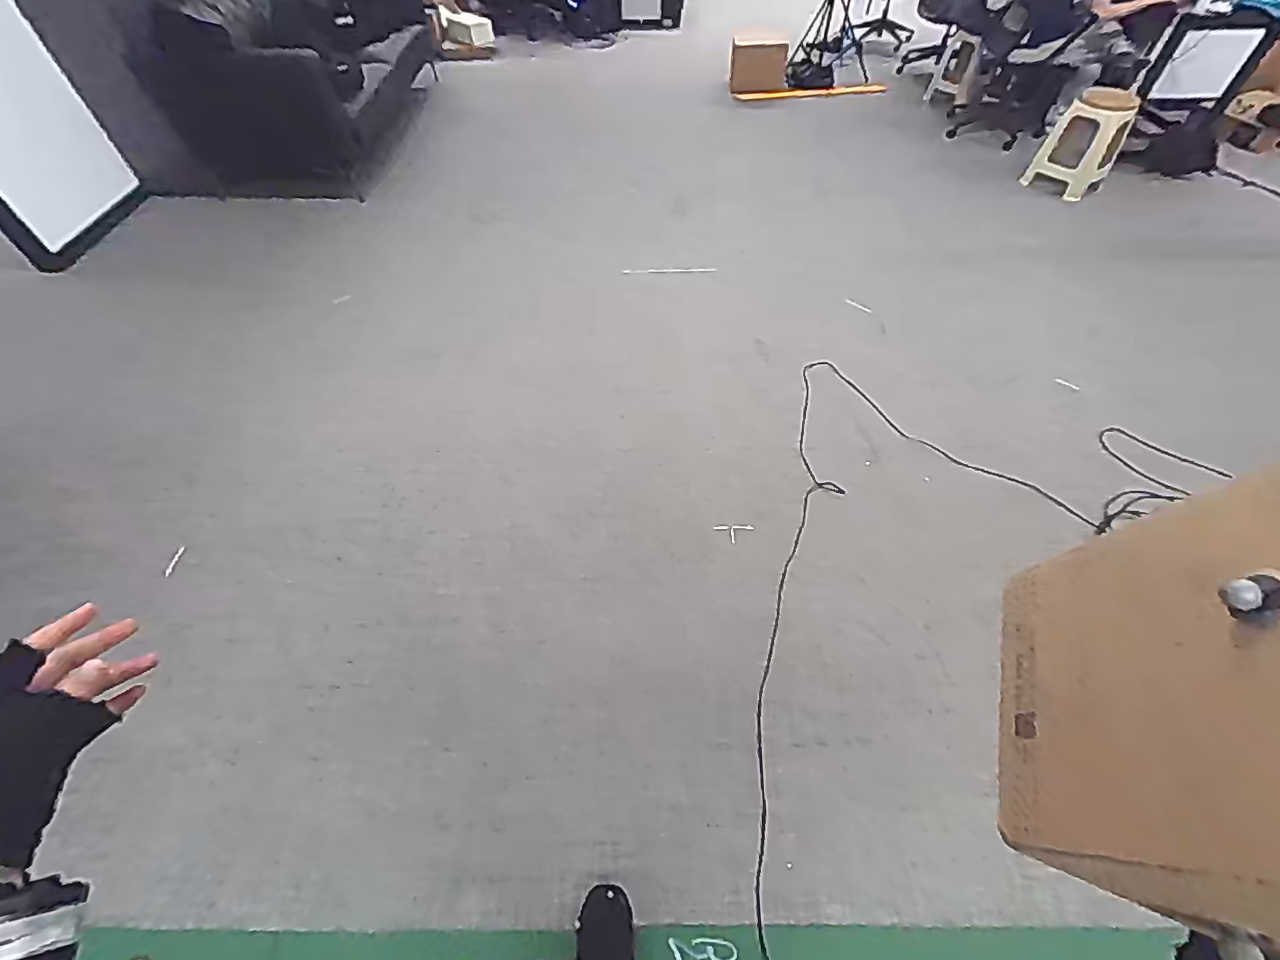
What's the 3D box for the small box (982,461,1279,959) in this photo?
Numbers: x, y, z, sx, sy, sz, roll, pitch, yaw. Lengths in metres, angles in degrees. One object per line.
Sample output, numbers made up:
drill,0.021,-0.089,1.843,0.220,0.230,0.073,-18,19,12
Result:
small box,0.306,0.122,0.257,0.179,0.176,0.168,23,60,2
